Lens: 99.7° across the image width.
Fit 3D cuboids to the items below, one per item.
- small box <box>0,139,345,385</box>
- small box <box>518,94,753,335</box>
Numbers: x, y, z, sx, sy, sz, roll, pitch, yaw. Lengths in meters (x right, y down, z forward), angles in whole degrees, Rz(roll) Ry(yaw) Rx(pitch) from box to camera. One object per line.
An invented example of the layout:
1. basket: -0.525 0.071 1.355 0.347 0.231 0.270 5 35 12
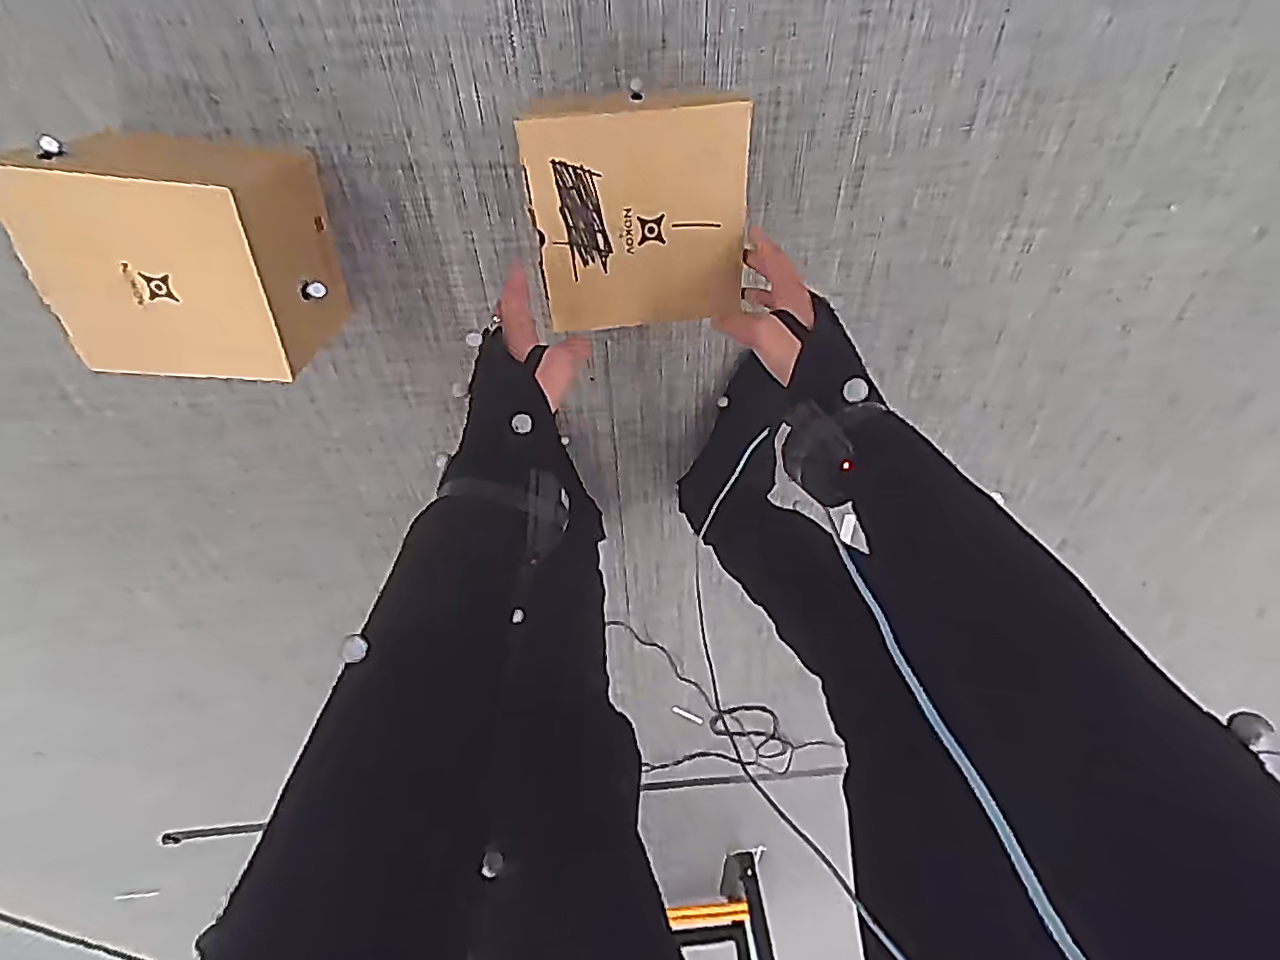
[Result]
1. small box: -0.399 -0.205 0.504 0.179 0.176 0.168 2 129 -7
2. small box: -0.006 -0.252 0.506 0.179 0.176 0.168 -6 130 -2
